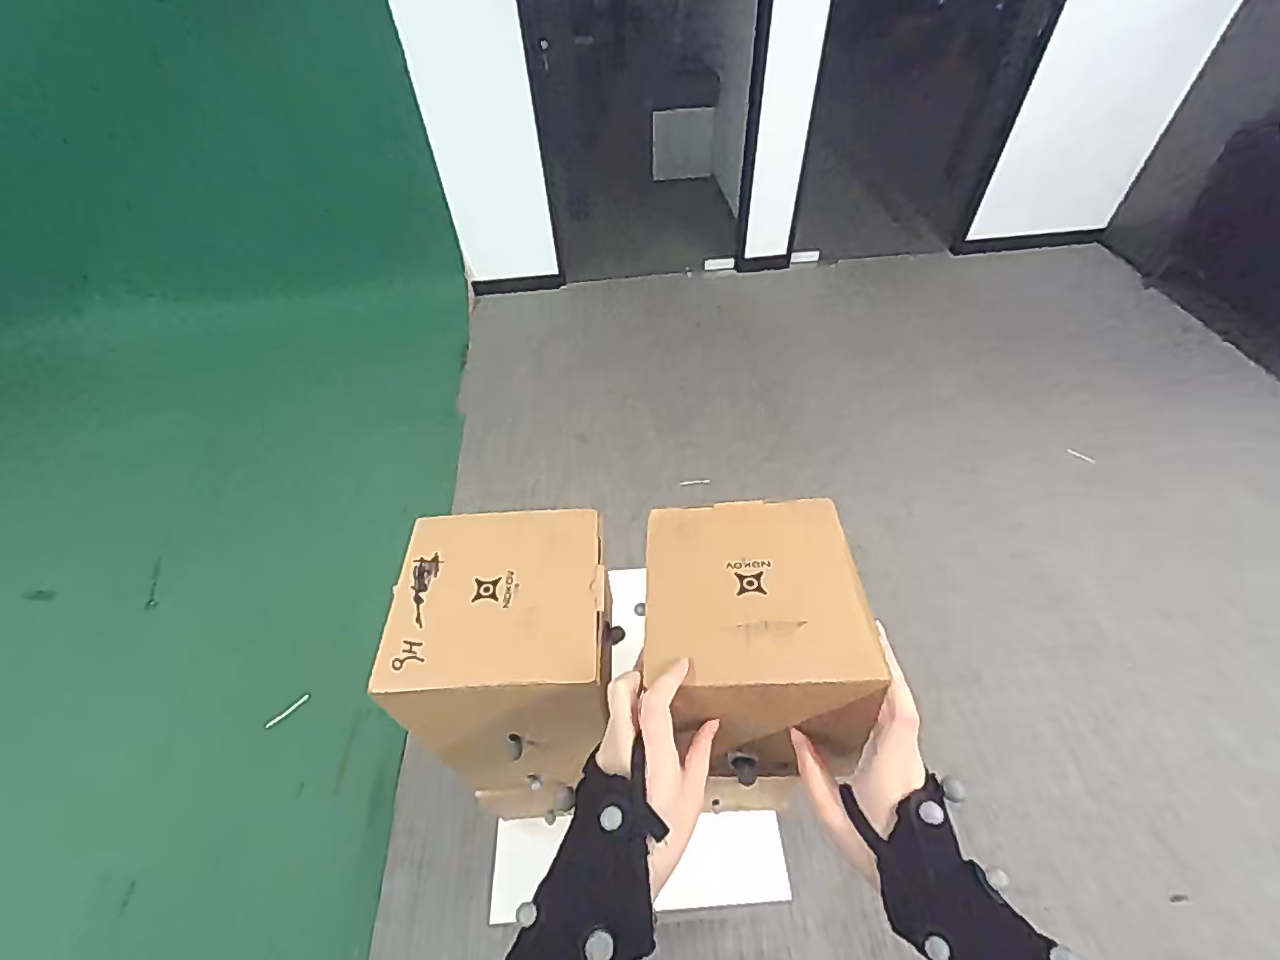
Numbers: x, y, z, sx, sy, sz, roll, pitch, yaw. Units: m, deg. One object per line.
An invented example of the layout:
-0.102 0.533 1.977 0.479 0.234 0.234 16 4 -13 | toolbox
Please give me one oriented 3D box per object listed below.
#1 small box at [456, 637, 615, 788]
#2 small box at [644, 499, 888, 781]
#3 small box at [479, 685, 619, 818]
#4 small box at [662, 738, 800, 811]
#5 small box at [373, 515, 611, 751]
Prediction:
-0.118 0.251 0.648 0.168 0.176 0.179 -3 49 0 | small box
0.096 0.139 0.478 0.168 0.176 0.179 -4 40 7 | small box
-0.118 0.362 0.769 0.168 0.176 0.179 -3 50 -1 | small box
0.114 0.352 0.767 0.168 0.176 0.179 -3 50 1 | small box
-0.117 0.149 0.519 0.179 0.176 0.168 -2 49 -1 | small box
